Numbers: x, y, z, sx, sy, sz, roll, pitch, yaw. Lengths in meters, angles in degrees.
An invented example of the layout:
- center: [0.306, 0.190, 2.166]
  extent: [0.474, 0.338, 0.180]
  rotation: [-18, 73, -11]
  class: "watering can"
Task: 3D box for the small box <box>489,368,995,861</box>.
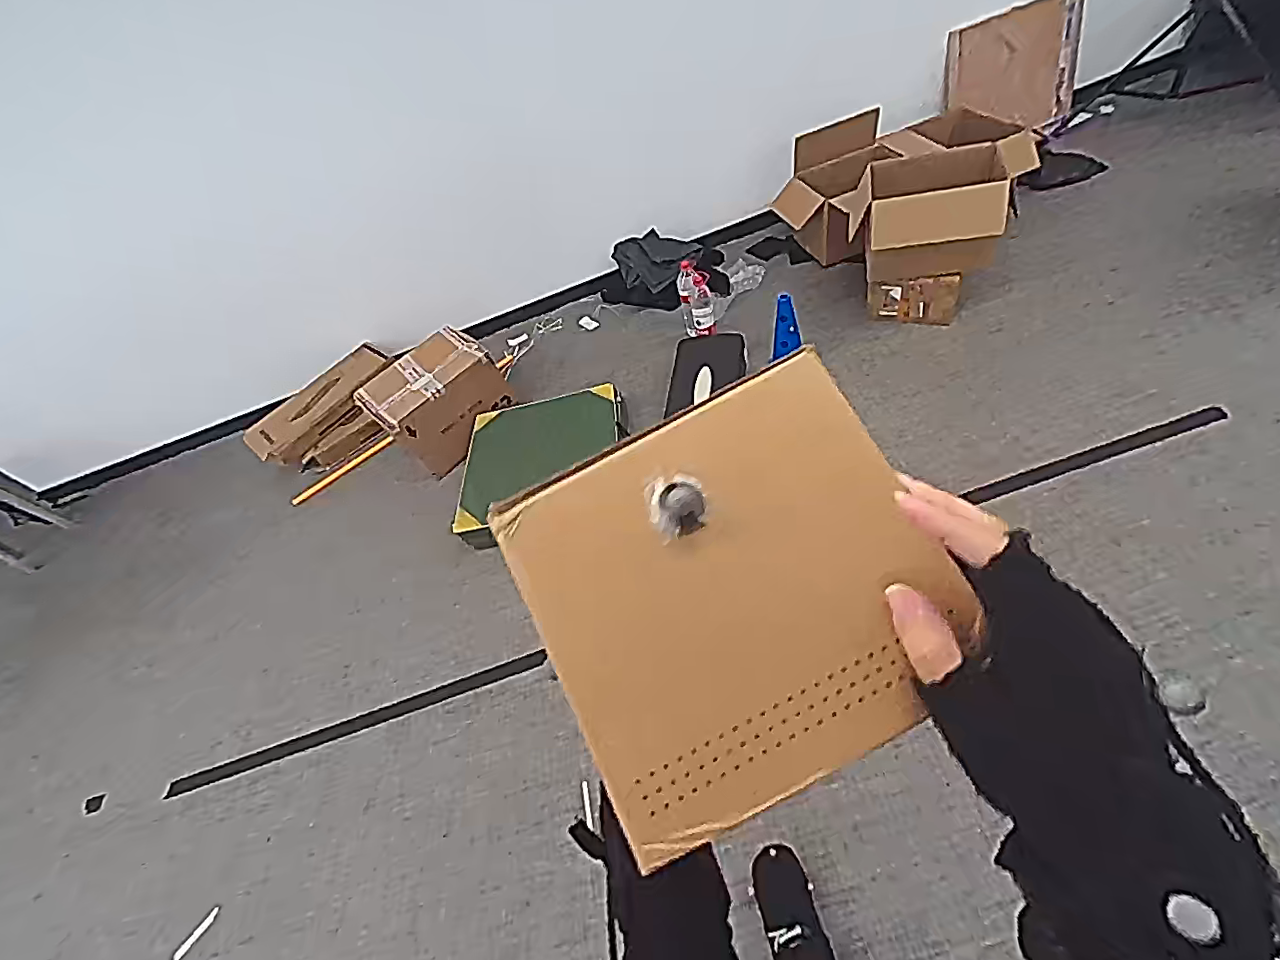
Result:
- center: [0.049, 0.073, 0.316]
  extent: [0.179, 0.168, 0.176]
  rotation: [-28, 76, 0]
  class: "small box"
